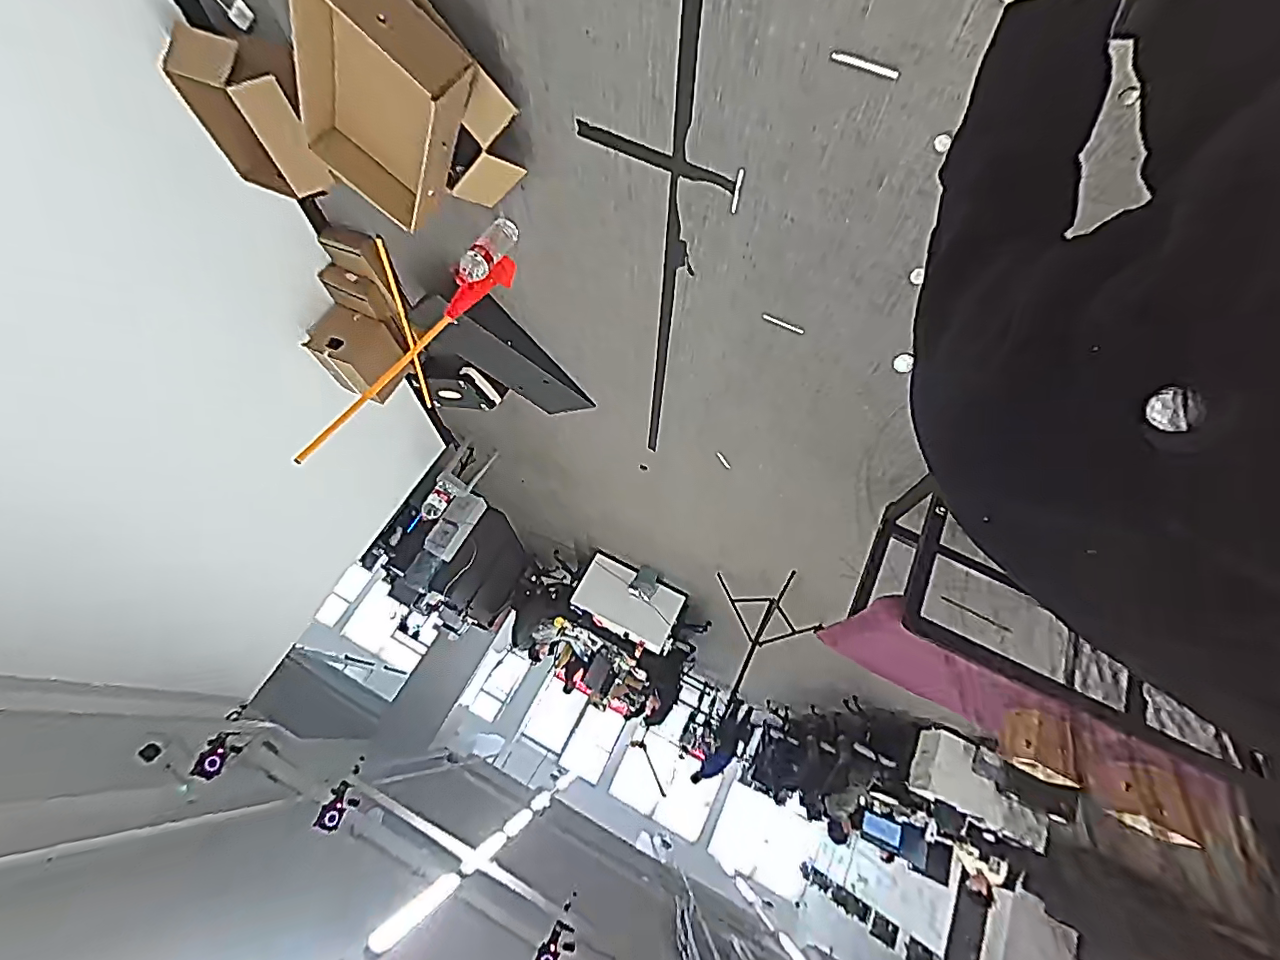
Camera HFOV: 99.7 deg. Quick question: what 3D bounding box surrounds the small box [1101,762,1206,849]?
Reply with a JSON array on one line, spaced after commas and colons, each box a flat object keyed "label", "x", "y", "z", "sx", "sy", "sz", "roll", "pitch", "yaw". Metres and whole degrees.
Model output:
[{"label": "small box", "x": 1.616, "y": 1.015, "z": 1.703, "sx": 0.179, "sy": 0.176, "sz": 0.168, "roll": 25, "pitch": 158, "yaw": 12}]
